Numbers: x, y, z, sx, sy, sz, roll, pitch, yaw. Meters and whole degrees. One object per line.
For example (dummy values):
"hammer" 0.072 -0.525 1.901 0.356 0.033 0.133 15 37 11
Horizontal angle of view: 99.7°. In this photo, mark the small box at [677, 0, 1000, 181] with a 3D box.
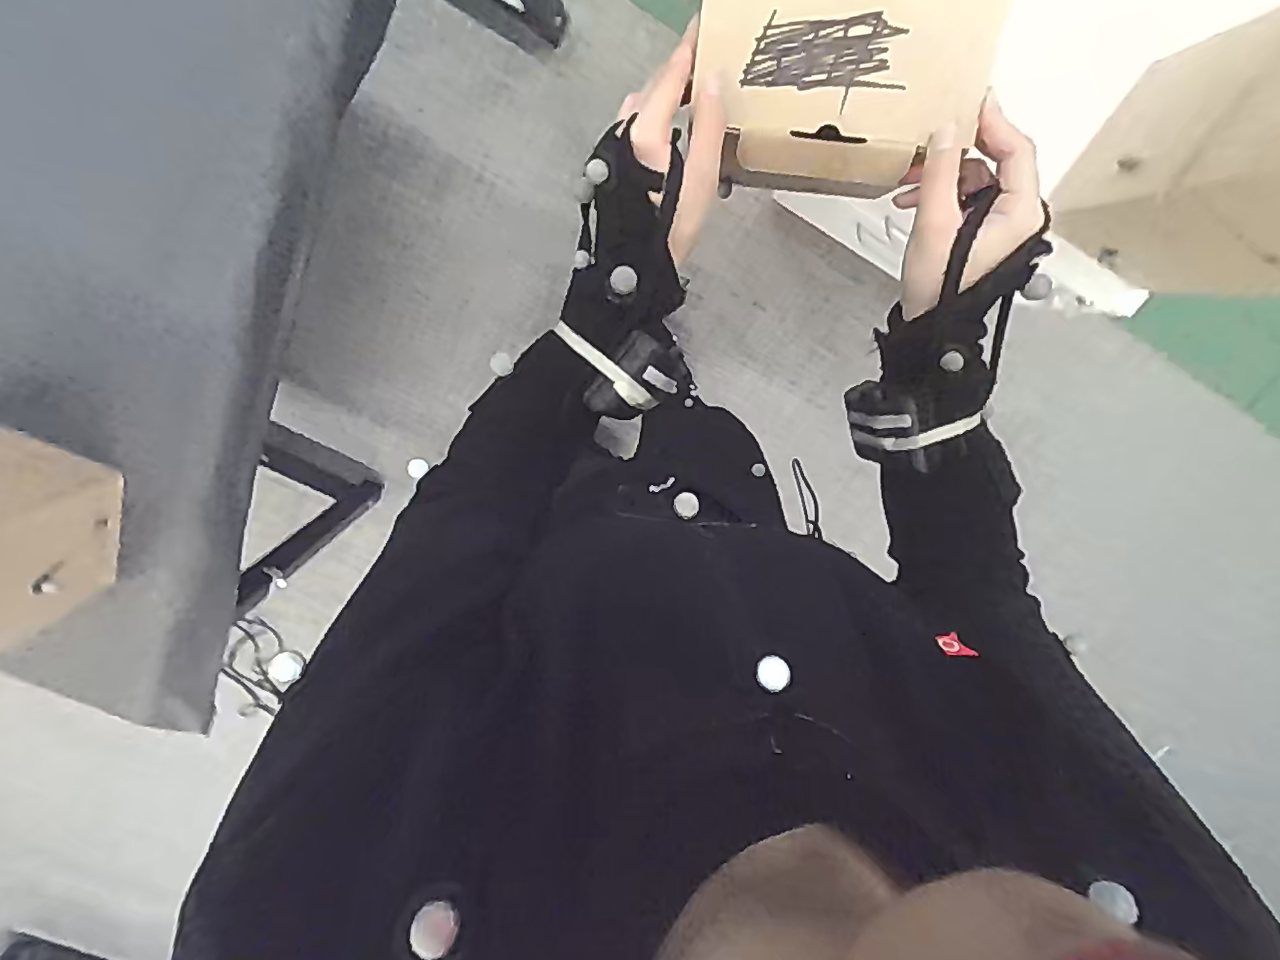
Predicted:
"small box" 0.116 -0.306 0.353 0.168 0.176 0.179 5 111 3

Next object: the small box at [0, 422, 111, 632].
"small box" -0.711 0.047 0.559 0.179 0.176 0.168 23 111 -7
